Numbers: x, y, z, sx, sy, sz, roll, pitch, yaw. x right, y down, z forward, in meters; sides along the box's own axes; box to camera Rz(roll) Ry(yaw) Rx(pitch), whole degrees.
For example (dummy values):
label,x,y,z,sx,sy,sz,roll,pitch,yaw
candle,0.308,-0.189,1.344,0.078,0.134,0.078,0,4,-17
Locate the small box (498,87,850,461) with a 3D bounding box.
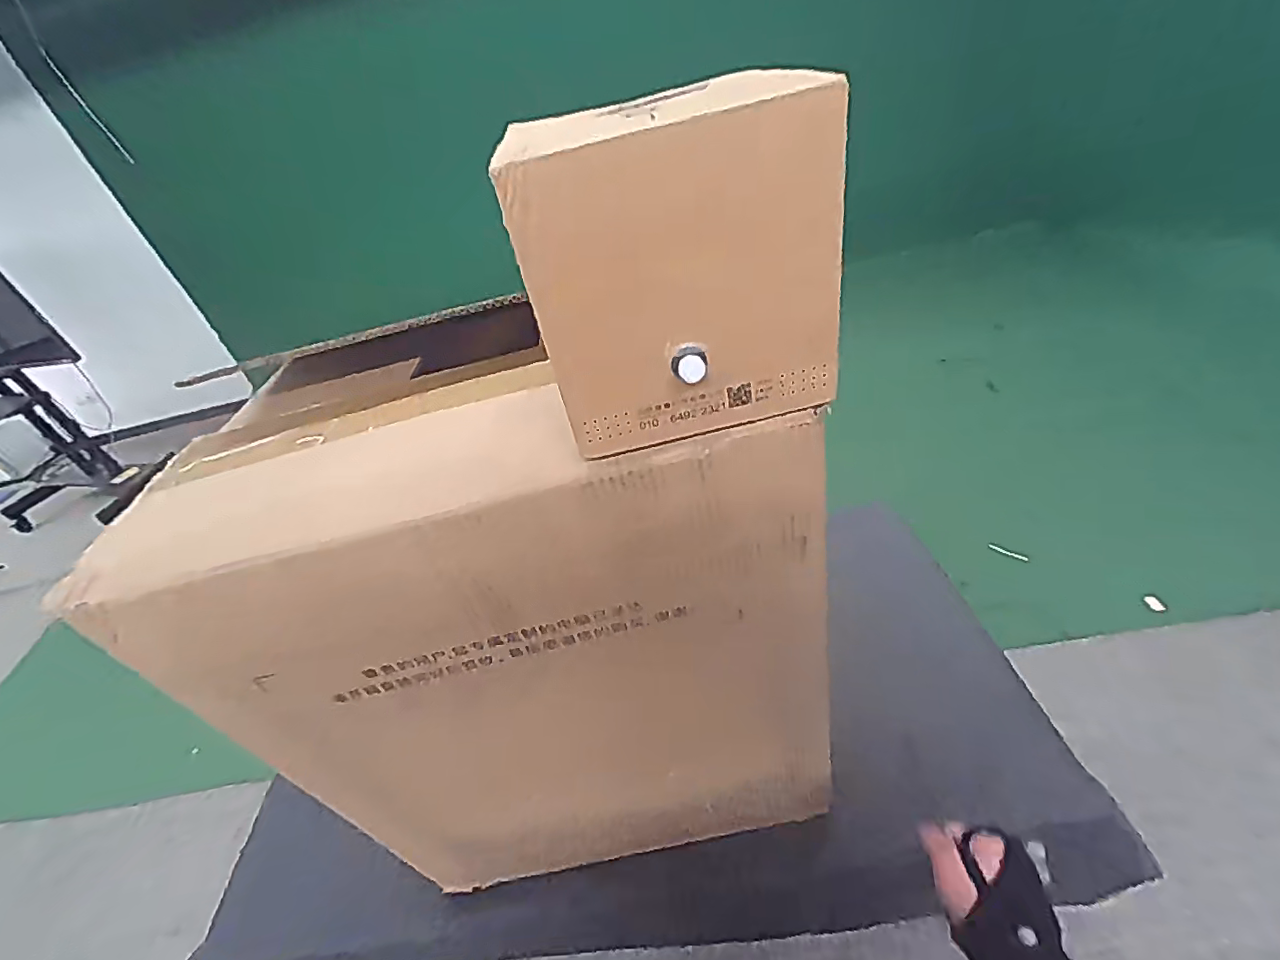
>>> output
label,x,y,z,sx,sy,sz,roll,pitch,yaw
small box,0.020,-0.138,0.358,0.168,0.176,0.179,-13,39,2
